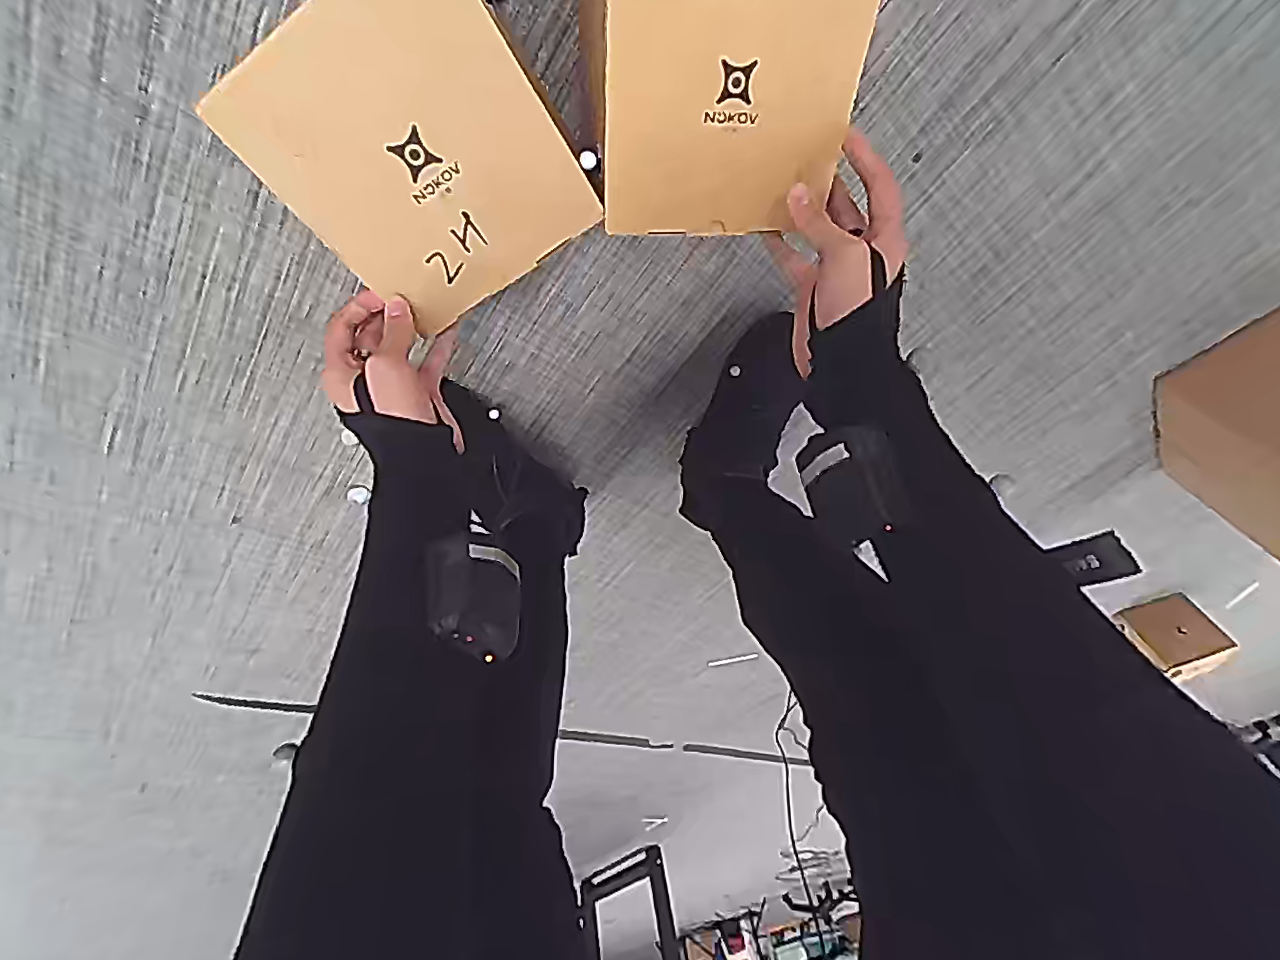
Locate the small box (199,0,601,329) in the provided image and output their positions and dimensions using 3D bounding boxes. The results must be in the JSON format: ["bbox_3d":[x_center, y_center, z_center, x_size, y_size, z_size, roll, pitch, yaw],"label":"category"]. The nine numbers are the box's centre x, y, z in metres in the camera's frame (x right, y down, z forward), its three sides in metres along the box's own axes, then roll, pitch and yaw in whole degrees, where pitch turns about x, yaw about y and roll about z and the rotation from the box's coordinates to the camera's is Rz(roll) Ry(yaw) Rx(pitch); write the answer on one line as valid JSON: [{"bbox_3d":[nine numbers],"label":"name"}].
[{"bbox_3d":[-0.152,-0.253,0.395,0.168,0.176,0.179,-29,134,13],"label":"small box"}]

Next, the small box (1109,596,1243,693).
[{"bbox_3d":[1.446,0.447,1.476,0.179,0.176,0.168,-22,134,7],"label":"small box"}]
